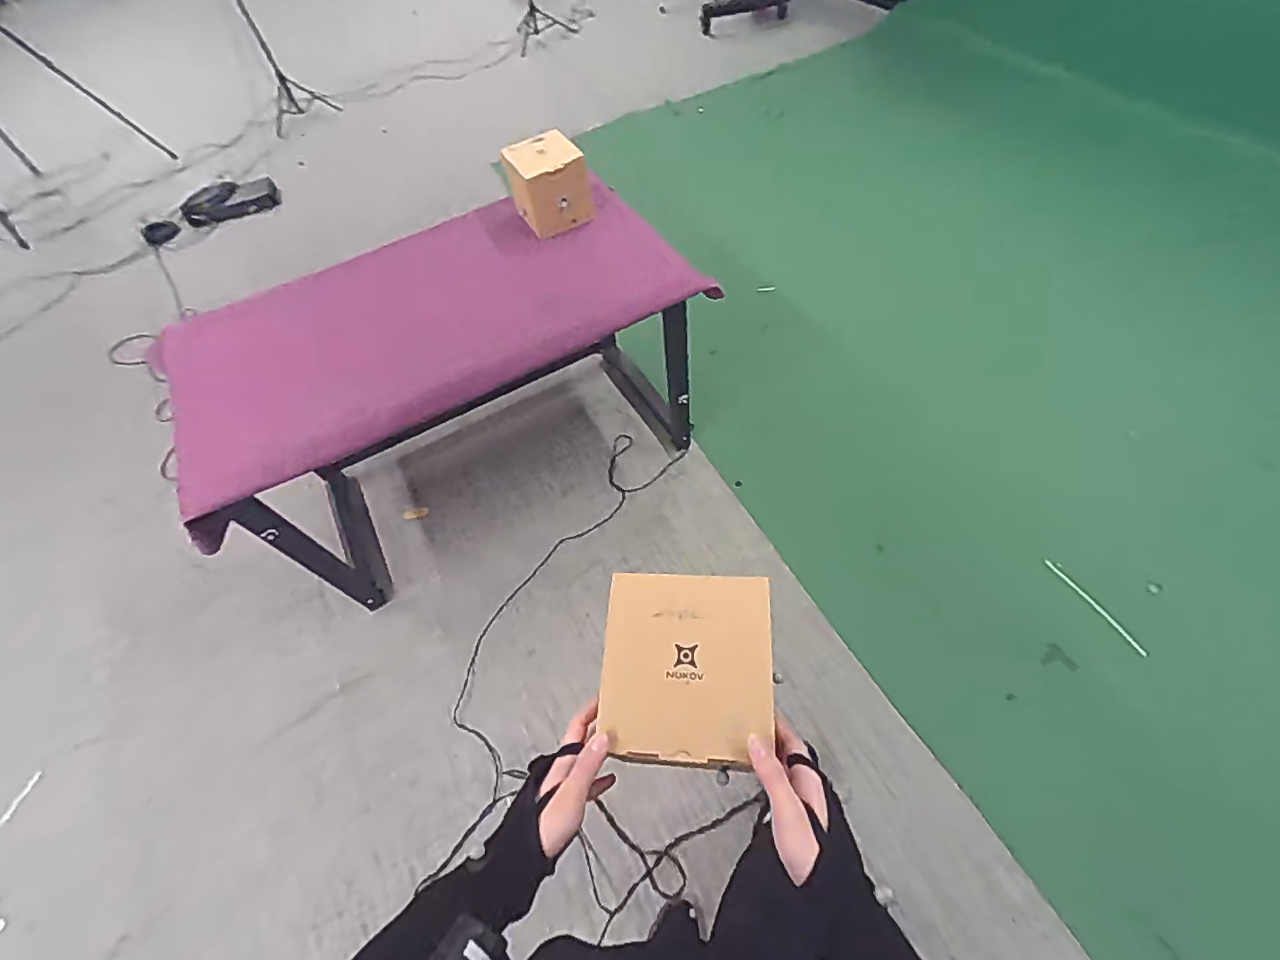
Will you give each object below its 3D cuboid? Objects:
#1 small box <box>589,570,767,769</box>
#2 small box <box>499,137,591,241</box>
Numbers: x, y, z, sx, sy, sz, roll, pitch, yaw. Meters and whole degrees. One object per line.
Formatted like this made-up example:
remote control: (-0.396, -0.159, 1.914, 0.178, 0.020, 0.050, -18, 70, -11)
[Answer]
small box: (0.050, 0.212, 0.595, 0.168, 0.176, 0.179, 0, 60, 8)
small box: (-0.245, -0.764, 1.434, 0.168, 0.176, 0.179, -28, 59, -11)
